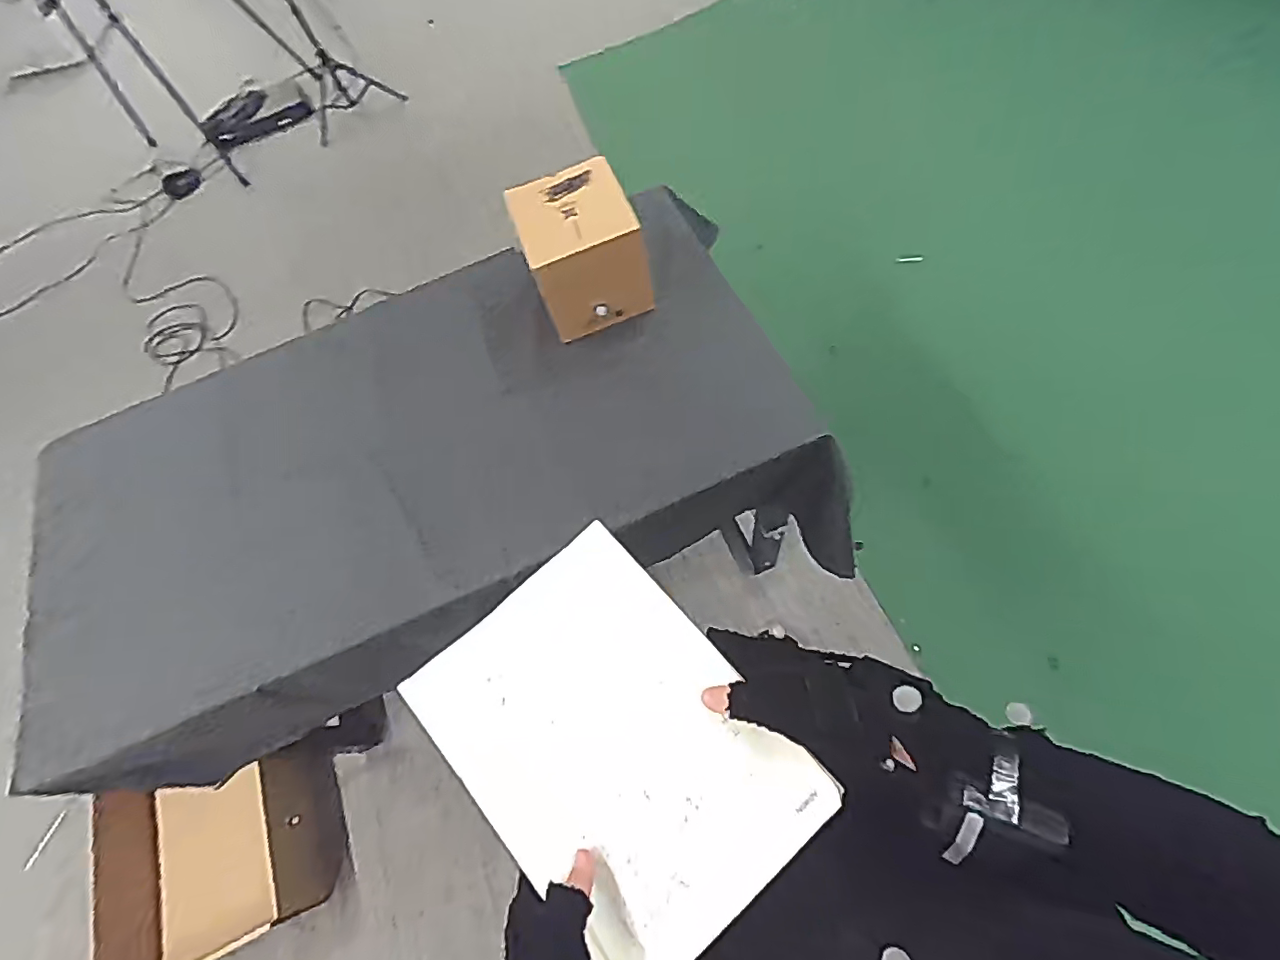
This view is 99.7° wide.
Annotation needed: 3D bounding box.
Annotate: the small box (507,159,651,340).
[{"bbox_3d":[-0.091,-0.360,0.863,0.168,0.176,0.179,-21,65,0],"label":"small box"}]
